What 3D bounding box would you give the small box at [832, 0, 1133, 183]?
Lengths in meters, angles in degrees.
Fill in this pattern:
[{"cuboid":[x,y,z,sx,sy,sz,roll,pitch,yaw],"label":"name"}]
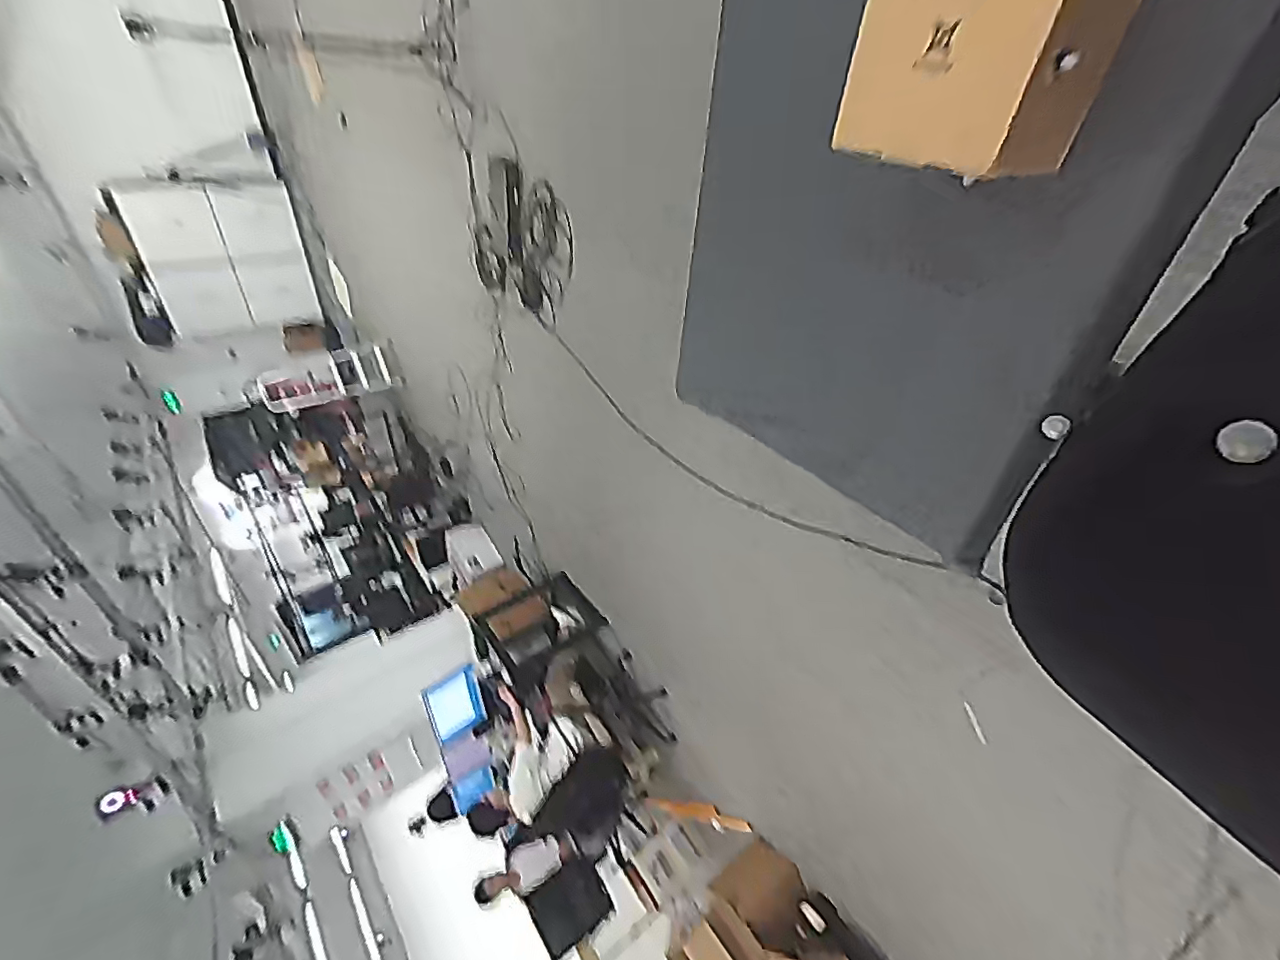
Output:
[{"cuboid":[0.319,-0.396,0.510,0.168,0.176,0.179,38,138,36],"label":"small box"}]
